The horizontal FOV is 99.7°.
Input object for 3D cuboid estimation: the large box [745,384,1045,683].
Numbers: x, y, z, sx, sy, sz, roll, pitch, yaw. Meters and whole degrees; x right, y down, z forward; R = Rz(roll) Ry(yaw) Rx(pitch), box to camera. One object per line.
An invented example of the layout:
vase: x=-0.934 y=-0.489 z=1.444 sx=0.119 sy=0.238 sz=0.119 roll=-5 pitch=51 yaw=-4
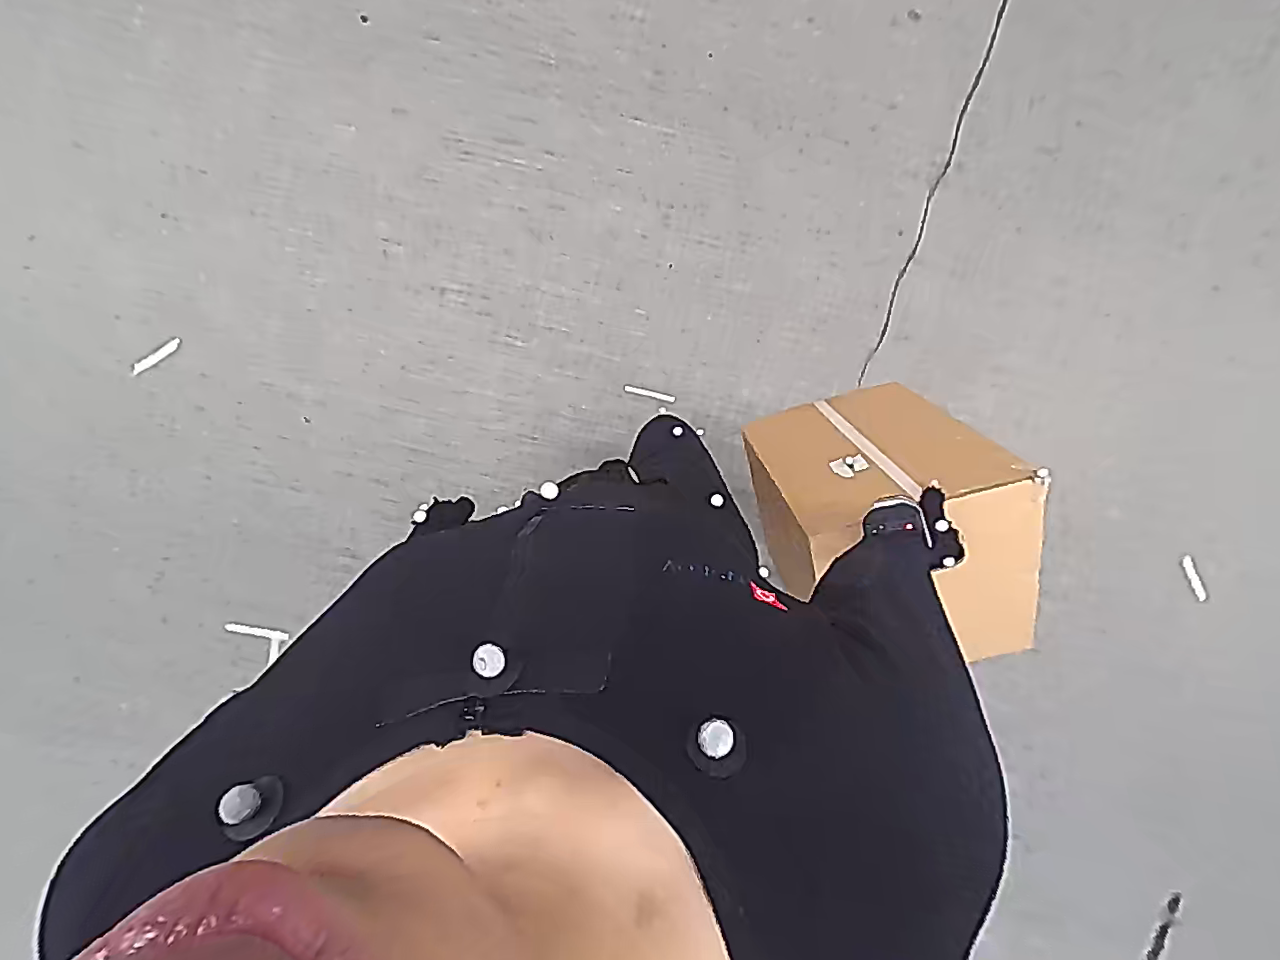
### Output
large box: x=0.408 y=0.071 z=0.959 sx=0.320 sy=0.408 sz=0.320 roll=-17 pitch=118 yaw=4
